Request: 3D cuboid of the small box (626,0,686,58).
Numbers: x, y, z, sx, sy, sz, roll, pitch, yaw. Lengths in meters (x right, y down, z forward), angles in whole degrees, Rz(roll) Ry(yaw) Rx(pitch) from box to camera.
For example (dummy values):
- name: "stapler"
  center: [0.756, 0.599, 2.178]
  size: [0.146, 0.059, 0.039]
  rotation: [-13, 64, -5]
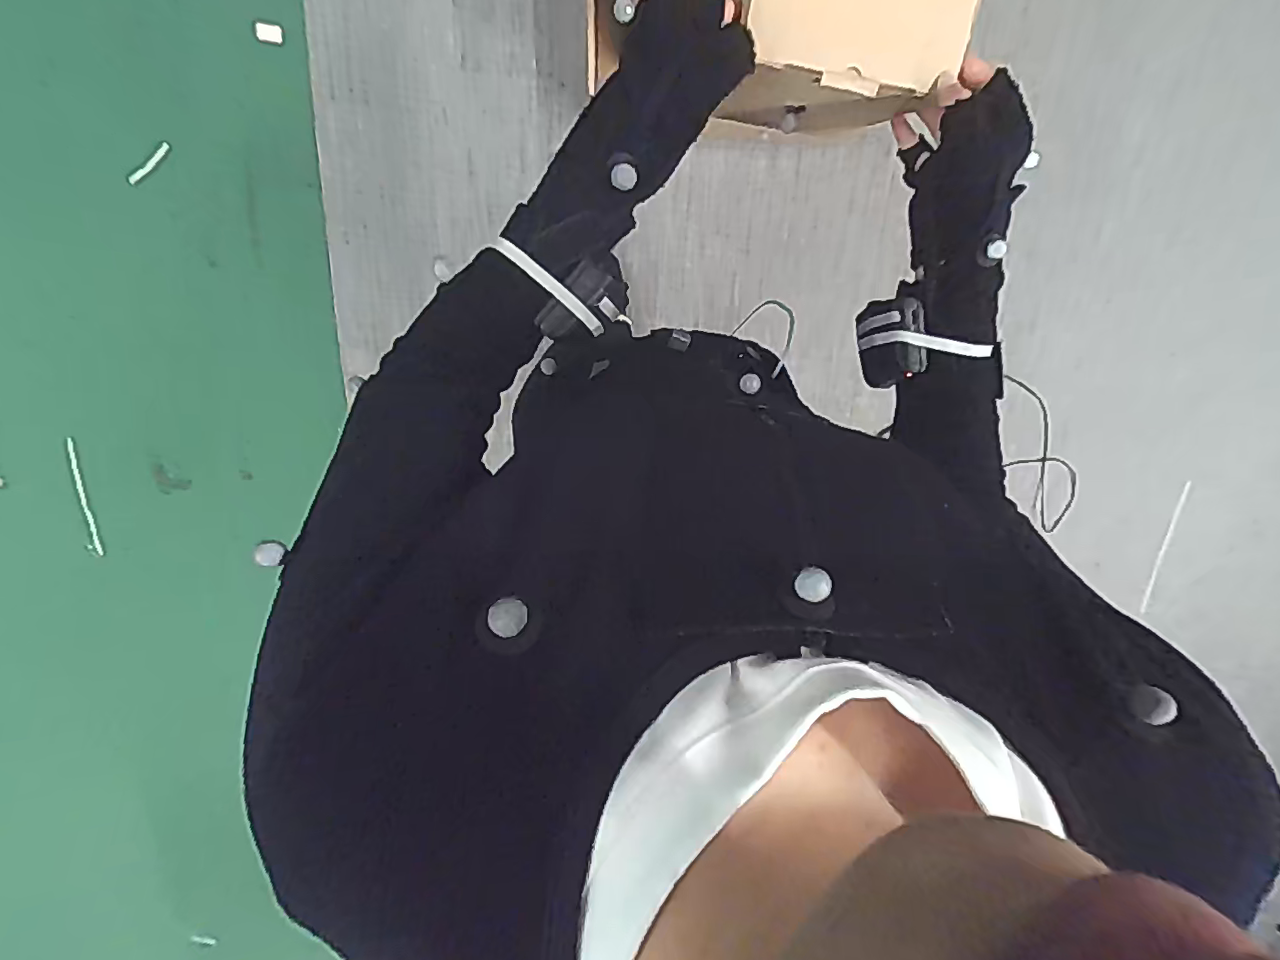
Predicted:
- name: "small box"
  center: [0.064, -0.958, 1.041]
  size: [0.168, 0.176, 0.179]
  rotation: [1, 108, -8]

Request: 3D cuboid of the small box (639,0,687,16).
- name: "small box"
  center: [0.085, -0.910, 0.887]
  size: [0.168, 0.176, 0.179]
  rotation: [-1, 108, -8]

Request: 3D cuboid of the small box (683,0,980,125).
- name: "small box"
  center: [0.138, -0.389, 0.406]
  size: [0.168, 0.176, 0.179]
  rotation: [1, 114, -14]
